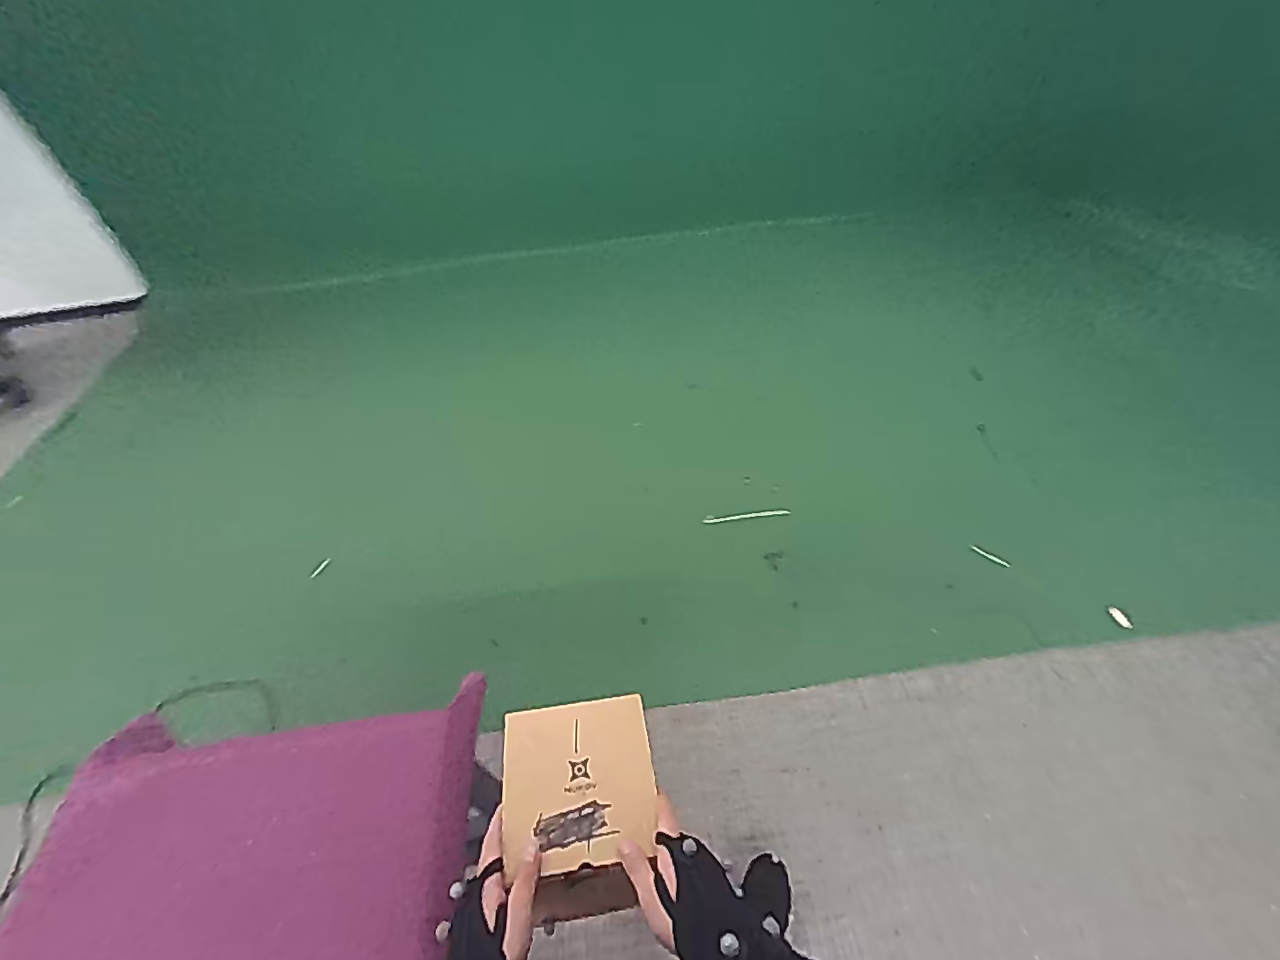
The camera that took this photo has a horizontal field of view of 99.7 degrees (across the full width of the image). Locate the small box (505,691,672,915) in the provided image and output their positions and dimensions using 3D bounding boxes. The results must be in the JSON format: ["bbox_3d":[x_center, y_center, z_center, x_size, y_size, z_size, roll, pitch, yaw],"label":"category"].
[{"bbox_3d":[-0.058,0.378,0.633,0.168,0.176,0.179,-4,38,-7],"label":"small box"}]
